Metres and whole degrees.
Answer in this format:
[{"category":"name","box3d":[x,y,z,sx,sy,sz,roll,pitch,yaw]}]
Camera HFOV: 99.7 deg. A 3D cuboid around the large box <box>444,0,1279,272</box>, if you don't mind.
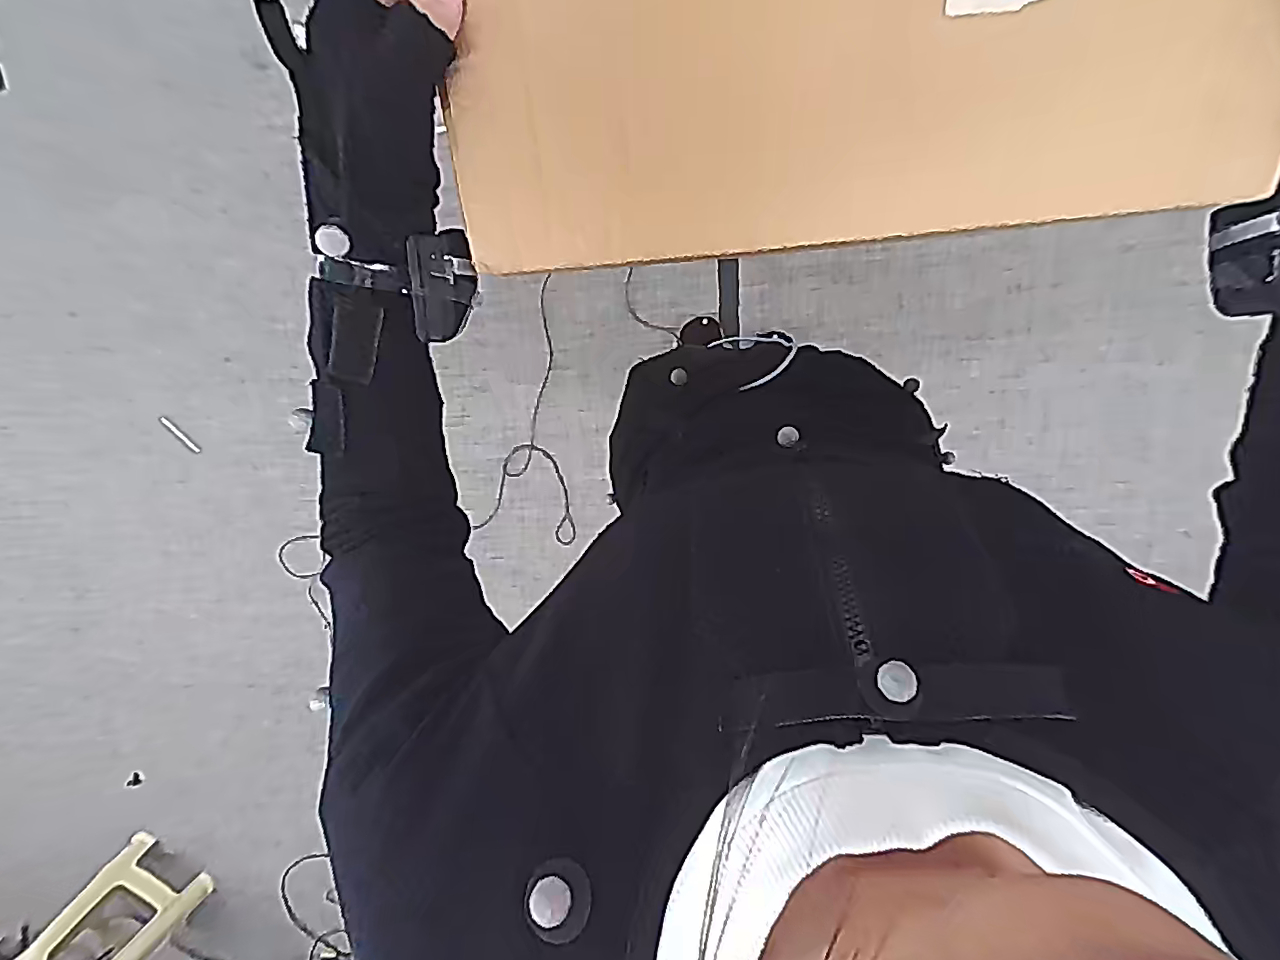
[{"category":"large box","box3d":[0.103,-0.334,0.381,0.408,0.320,0.320,-4,112,5]}]
